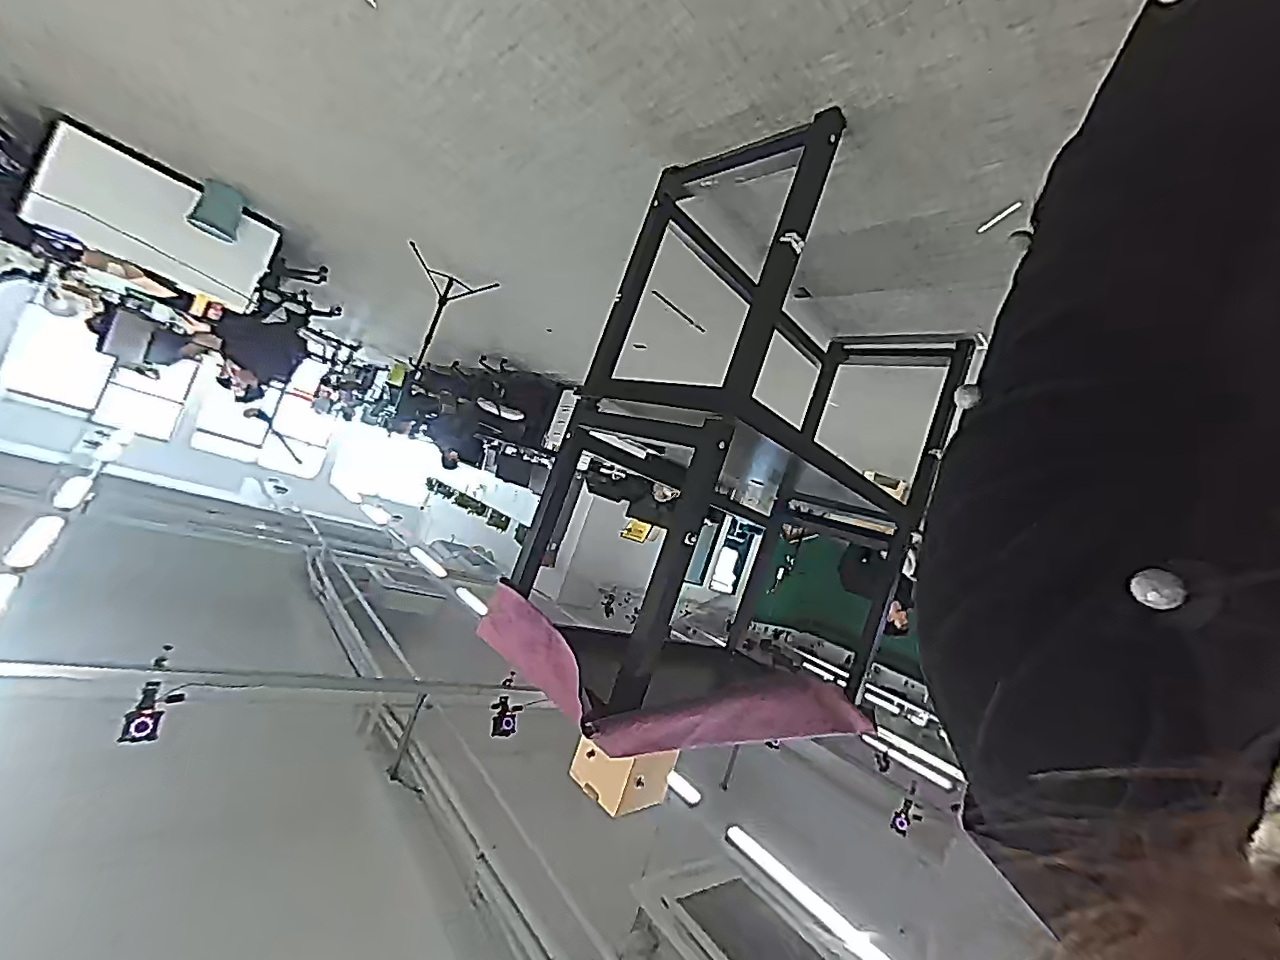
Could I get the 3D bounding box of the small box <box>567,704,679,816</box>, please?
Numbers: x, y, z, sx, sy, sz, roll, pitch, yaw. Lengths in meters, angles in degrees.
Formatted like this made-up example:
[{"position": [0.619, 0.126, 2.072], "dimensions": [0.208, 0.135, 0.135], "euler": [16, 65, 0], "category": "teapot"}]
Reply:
[{"position": [-0.037, 0.651, 1.283], "dimensions": [0.168, 0.176, 0.179], "euler": [18, 178, 42], "category": "small box"}]
